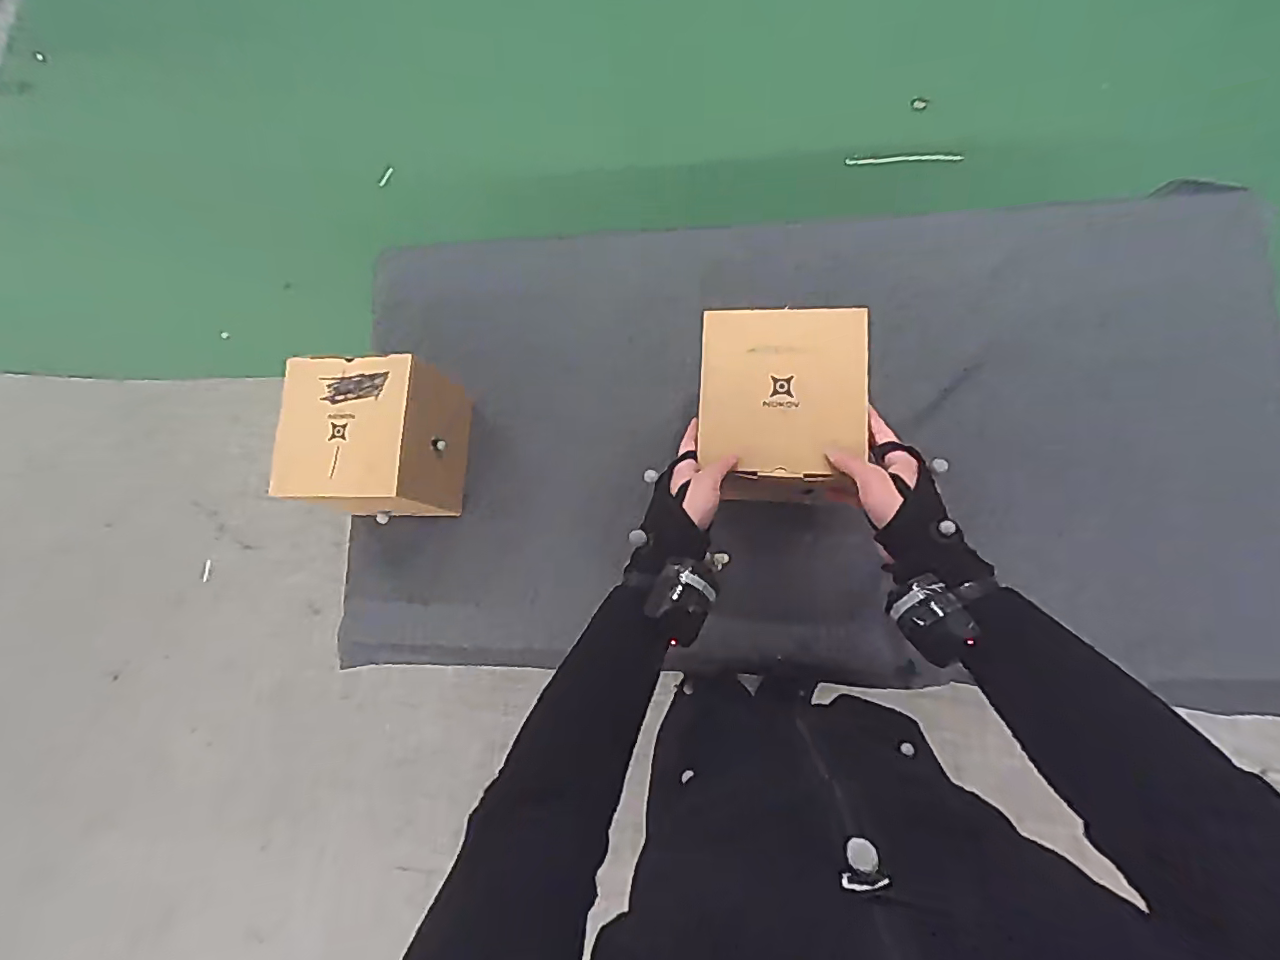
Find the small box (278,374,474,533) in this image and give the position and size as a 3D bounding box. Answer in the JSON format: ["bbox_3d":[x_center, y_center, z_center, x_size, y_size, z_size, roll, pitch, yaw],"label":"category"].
[{"bbox_3d":[-0.335,-0.027,0.722,0.168,0.176,0.179,-1,79,8],"label":"small box"}]

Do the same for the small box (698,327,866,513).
[{"bbox_3d":[0.156,-0.058,0.627,0.168,0.176,0.179,1,78,8],"label":"small box"}]
